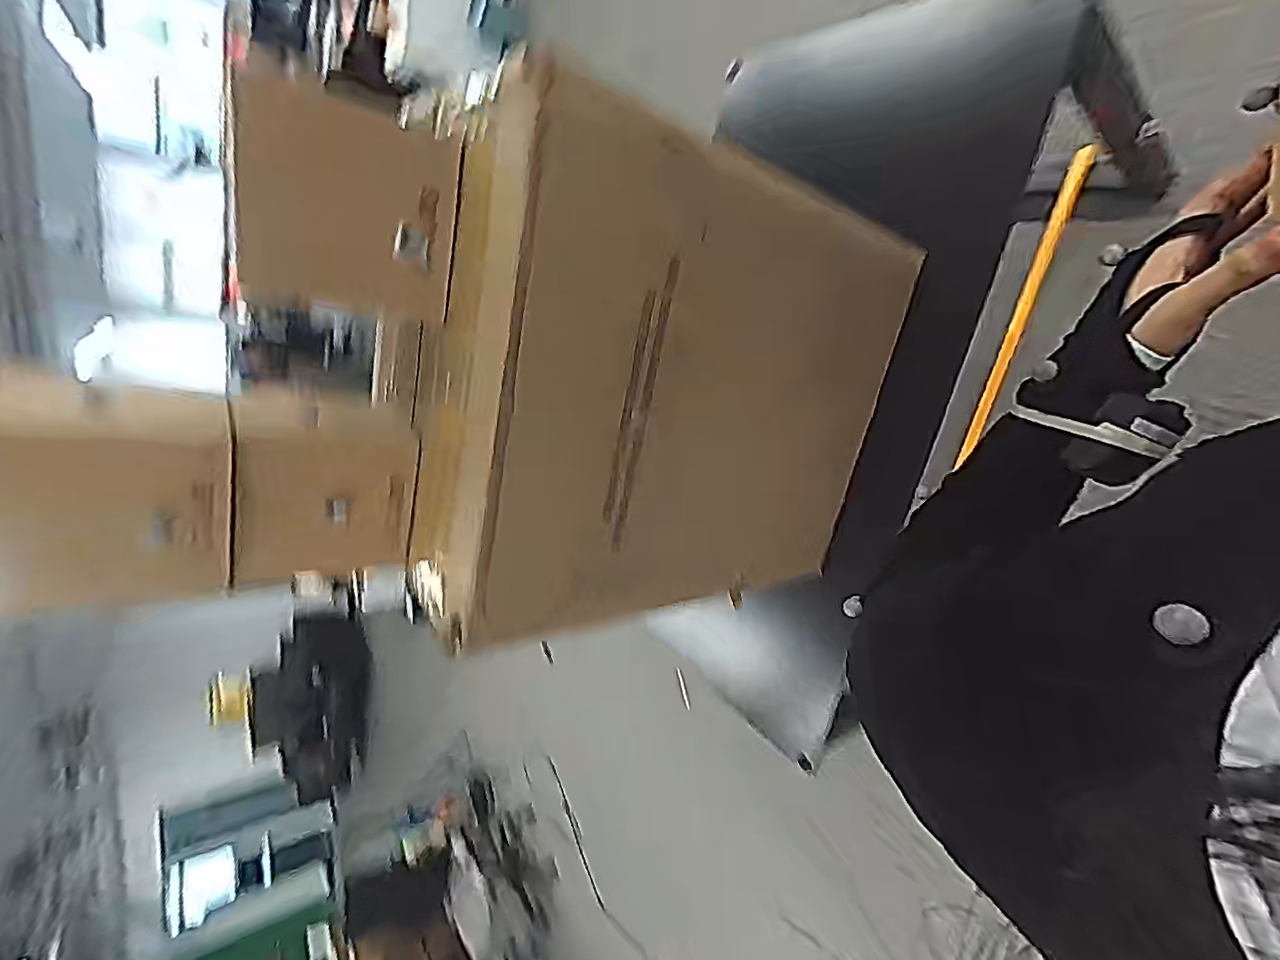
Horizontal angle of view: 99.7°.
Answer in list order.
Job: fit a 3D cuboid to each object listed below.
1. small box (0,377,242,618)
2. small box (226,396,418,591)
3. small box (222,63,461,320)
[{"bbox_3d":[-0.488,0.010,0.511,0.179,0.176,0.168,31,114,46],"label":"small box"},{"bbox_3d":[-0.370,0.006,0.628,0.179,0.176,0.168,28,112,47],"label":"small box"},{"bbox_3d":[-0.287,-0.254,0.516,0.179,0.176,0.168,32,118,46],"label":"small box"}]
